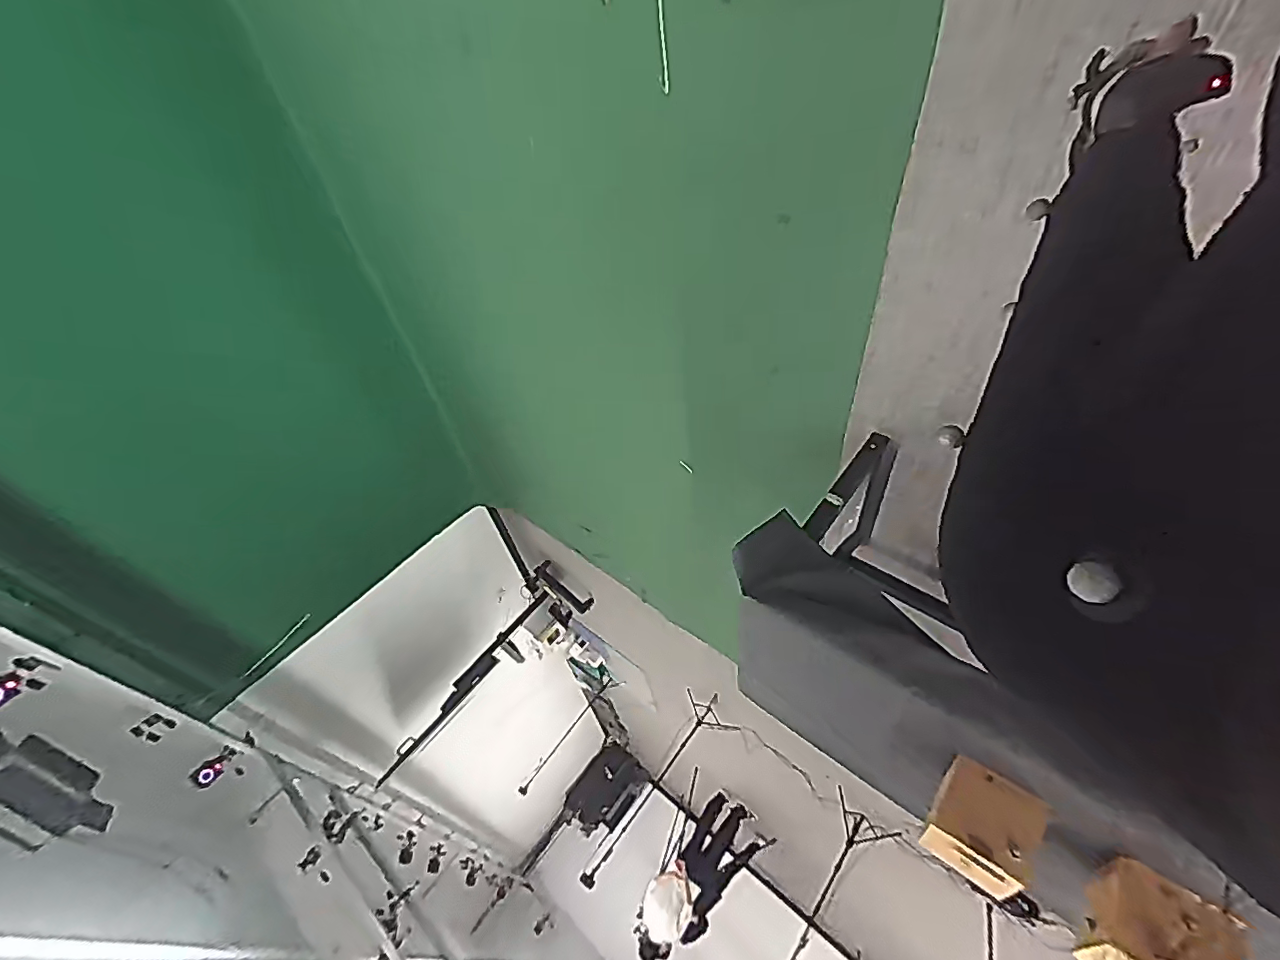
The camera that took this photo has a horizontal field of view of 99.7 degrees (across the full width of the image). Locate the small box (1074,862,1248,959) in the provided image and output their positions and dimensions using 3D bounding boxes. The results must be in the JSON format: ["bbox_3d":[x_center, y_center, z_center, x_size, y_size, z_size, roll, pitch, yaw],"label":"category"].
[{"bbox_3d":[0.927,0.833,0.966,0.168,0.176,0.179,26,146,35],"label":"small box"}]
